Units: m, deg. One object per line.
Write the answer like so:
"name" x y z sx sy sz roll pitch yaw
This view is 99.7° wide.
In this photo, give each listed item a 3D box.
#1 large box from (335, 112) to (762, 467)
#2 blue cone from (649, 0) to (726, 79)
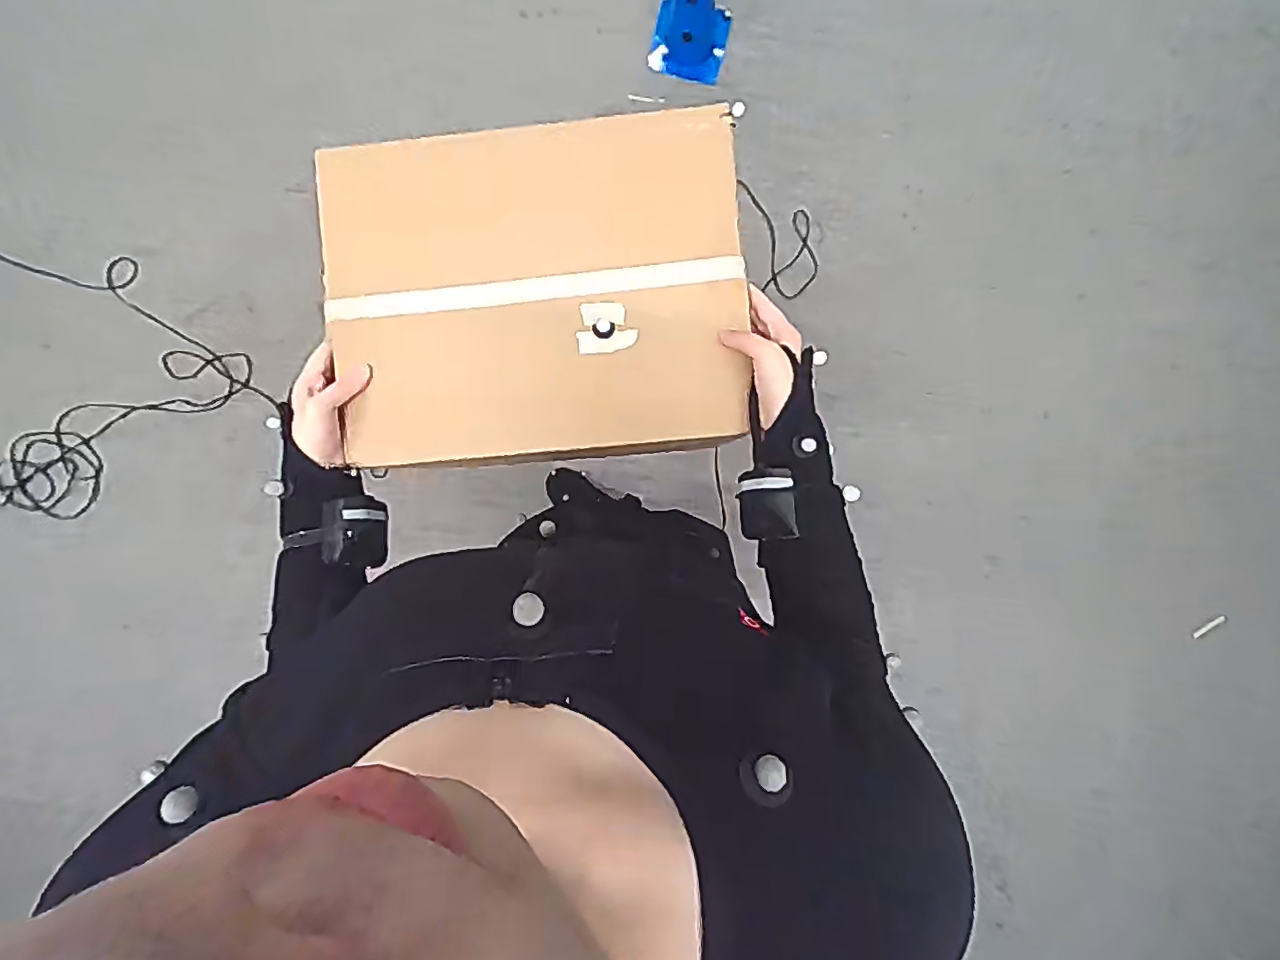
"large box" -0.089 -0.188 0.677 0.408 0.320 0.320 -5 92 1
"blue cone" 0.130 -1.199 1.312 0.193 0.380 0.192 15 91 -1
